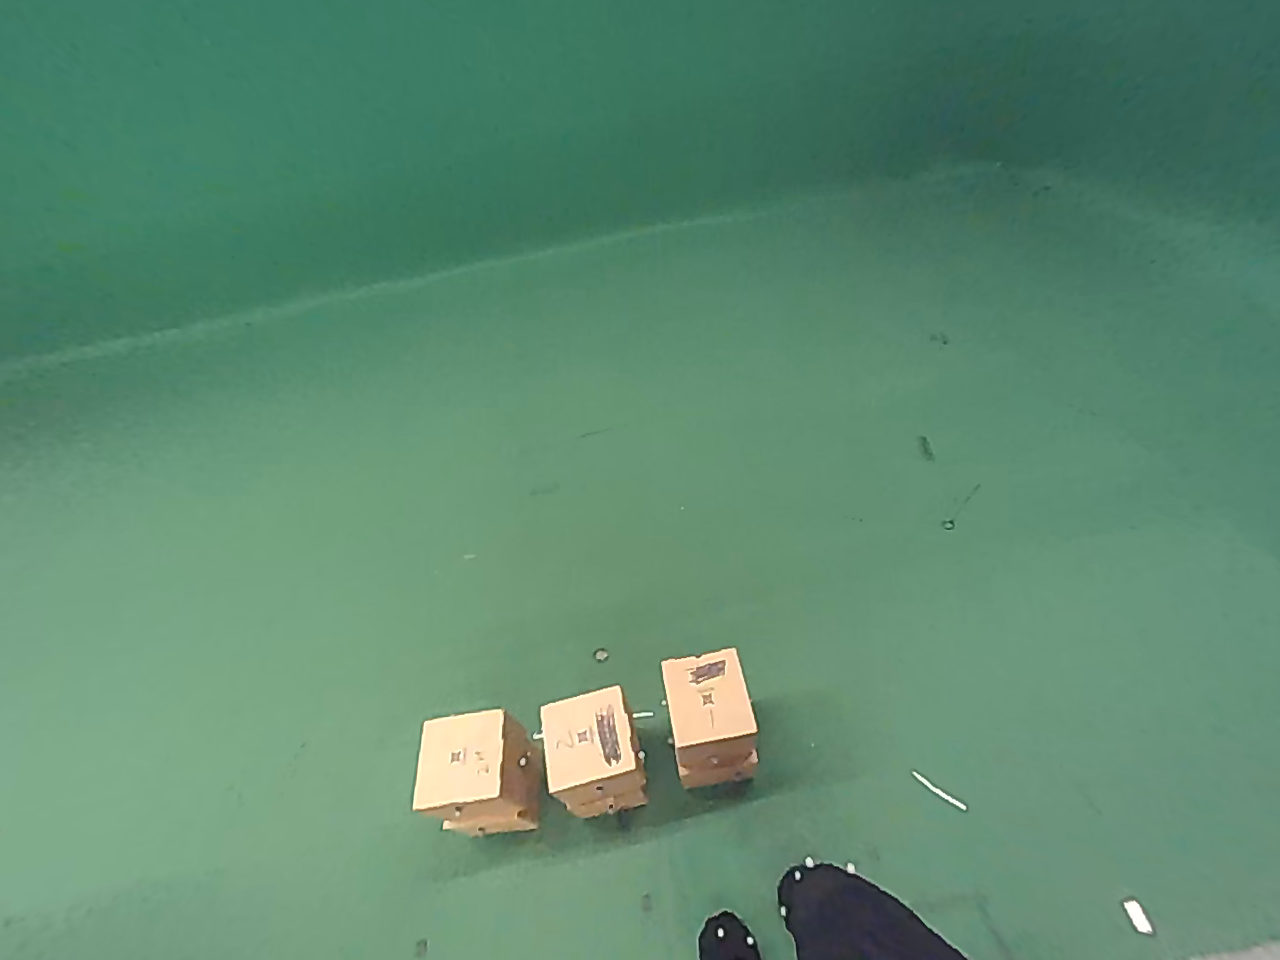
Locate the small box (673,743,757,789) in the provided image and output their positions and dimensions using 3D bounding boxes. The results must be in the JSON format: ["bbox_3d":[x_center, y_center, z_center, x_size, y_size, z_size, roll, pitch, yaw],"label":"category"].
[{"bbox_3d":[0.168,0.613,1.274,0.179,0.176,0.168,-10,50,2],"label":"small box"}]

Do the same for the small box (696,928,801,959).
[{"bbox_3d":[0.198,0.972,0.997,0.179,0.176,0.168,0,64,32],"label":"small box"}]

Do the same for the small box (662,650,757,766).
[{"bbox_3d":[0.144,0.492,1.164,0.168,0.176,0.179,-10,50,0],"label":"small box"}]

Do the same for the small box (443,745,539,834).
[{"bbox_3d":[-0.339,0.718,1.267,0.168,0.176,0.179,-8,50,3],"label":"small box"}]

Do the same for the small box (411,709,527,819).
[{"bbox_3d":[-0.352,0.606,1.146,0.179,0.176,0.168,-9,50,2],"label":"small box"}]
